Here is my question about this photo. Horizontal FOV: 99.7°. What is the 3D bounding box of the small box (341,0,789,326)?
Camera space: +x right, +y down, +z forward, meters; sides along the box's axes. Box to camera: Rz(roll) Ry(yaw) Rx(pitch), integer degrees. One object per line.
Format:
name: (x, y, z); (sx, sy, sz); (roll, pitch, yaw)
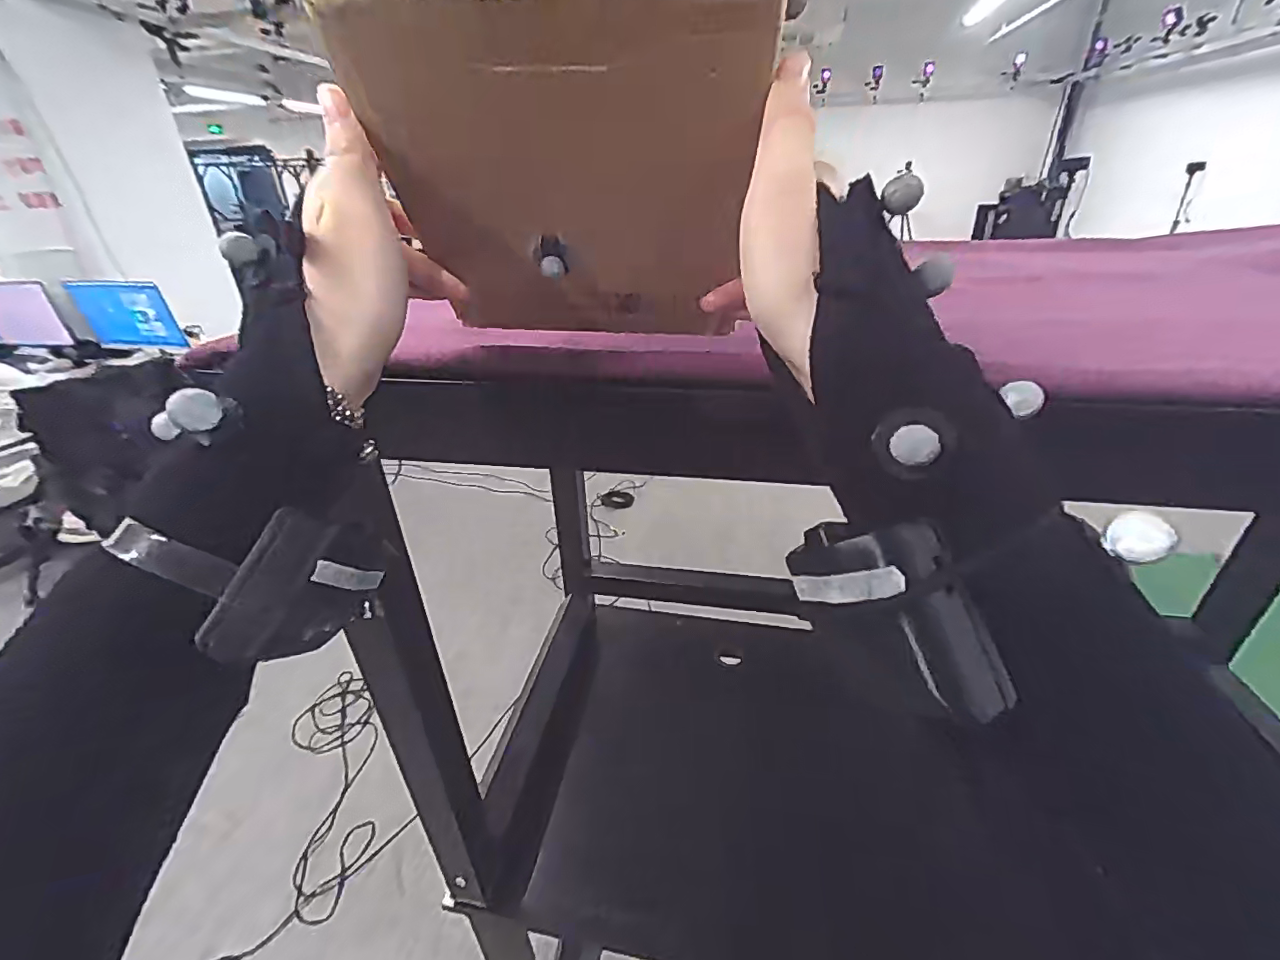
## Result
small box: (-0.021, -0.209, 0.288); (0.168, 0.176, 0.179); (3, 64, 5)
